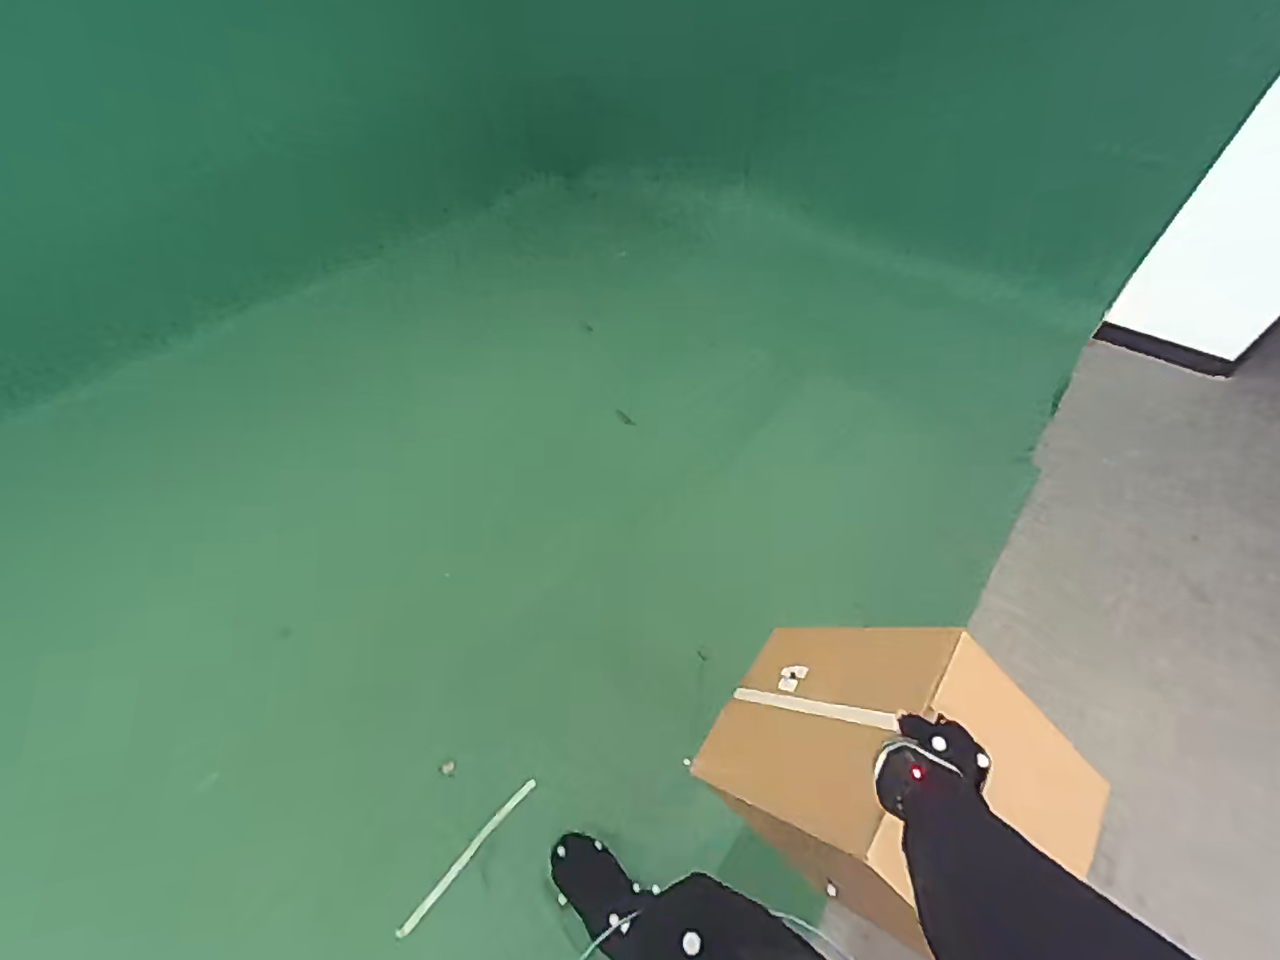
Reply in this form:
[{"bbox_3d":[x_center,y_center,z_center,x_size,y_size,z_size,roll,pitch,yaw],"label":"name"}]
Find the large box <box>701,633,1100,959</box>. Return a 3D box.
[{"bbox_3d":[0.373,0.462,0.836,0.320,0.408,0.320,45,64,-4],"label":"large box"}]
